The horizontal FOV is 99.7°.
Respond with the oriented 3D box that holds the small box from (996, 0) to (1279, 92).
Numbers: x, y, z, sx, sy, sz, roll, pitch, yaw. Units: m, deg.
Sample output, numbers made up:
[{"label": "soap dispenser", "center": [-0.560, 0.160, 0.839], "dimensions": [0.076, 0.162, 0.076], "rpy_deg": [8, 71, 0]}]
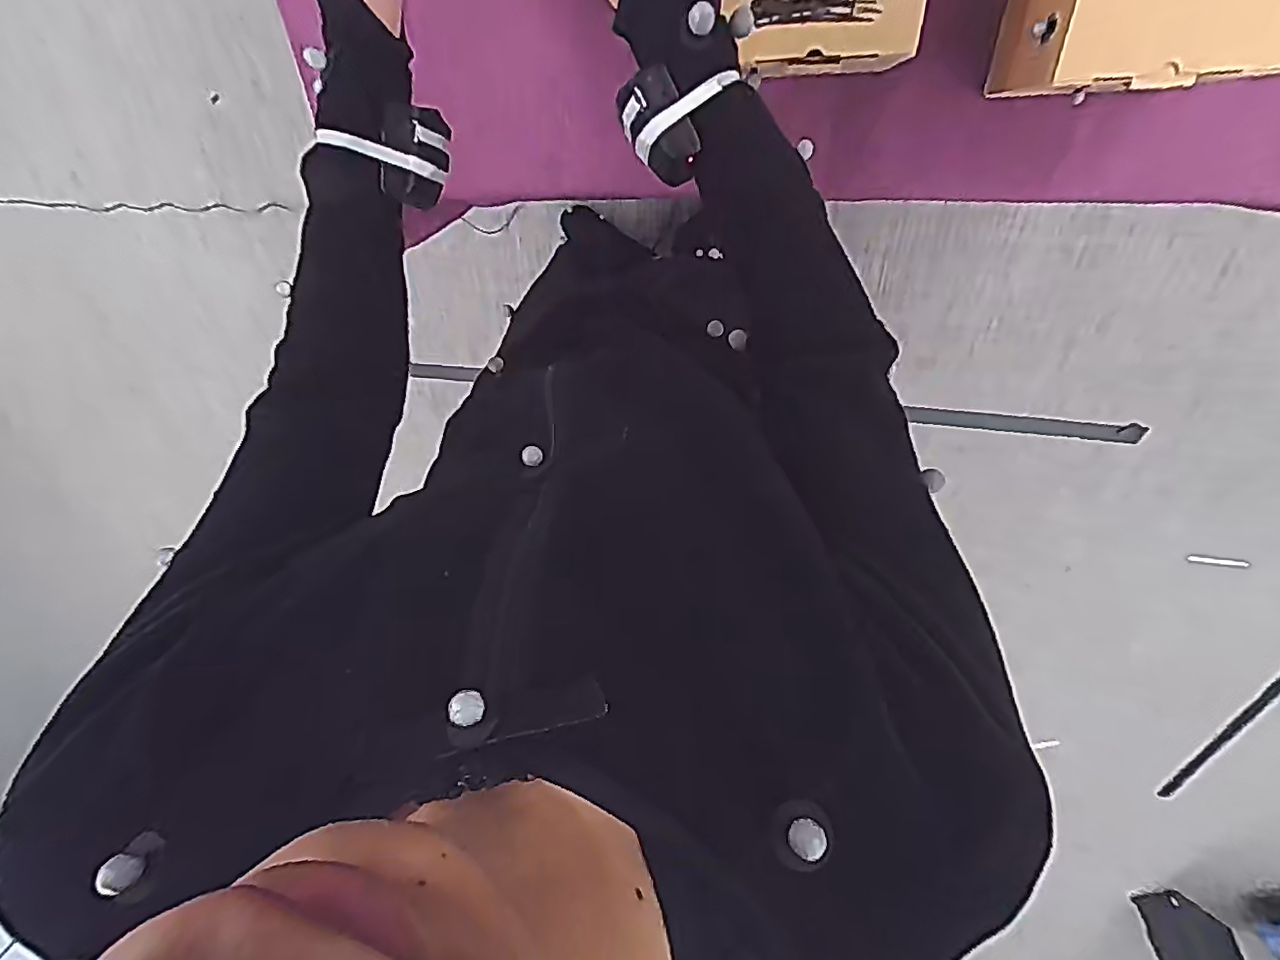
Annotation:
[{"label": "small box", "center": [0.431, -0.438, 0.449], "dimensions": [0.168, 0.176, 0.179], "rpy_deg": [4, 124, 11]}]
